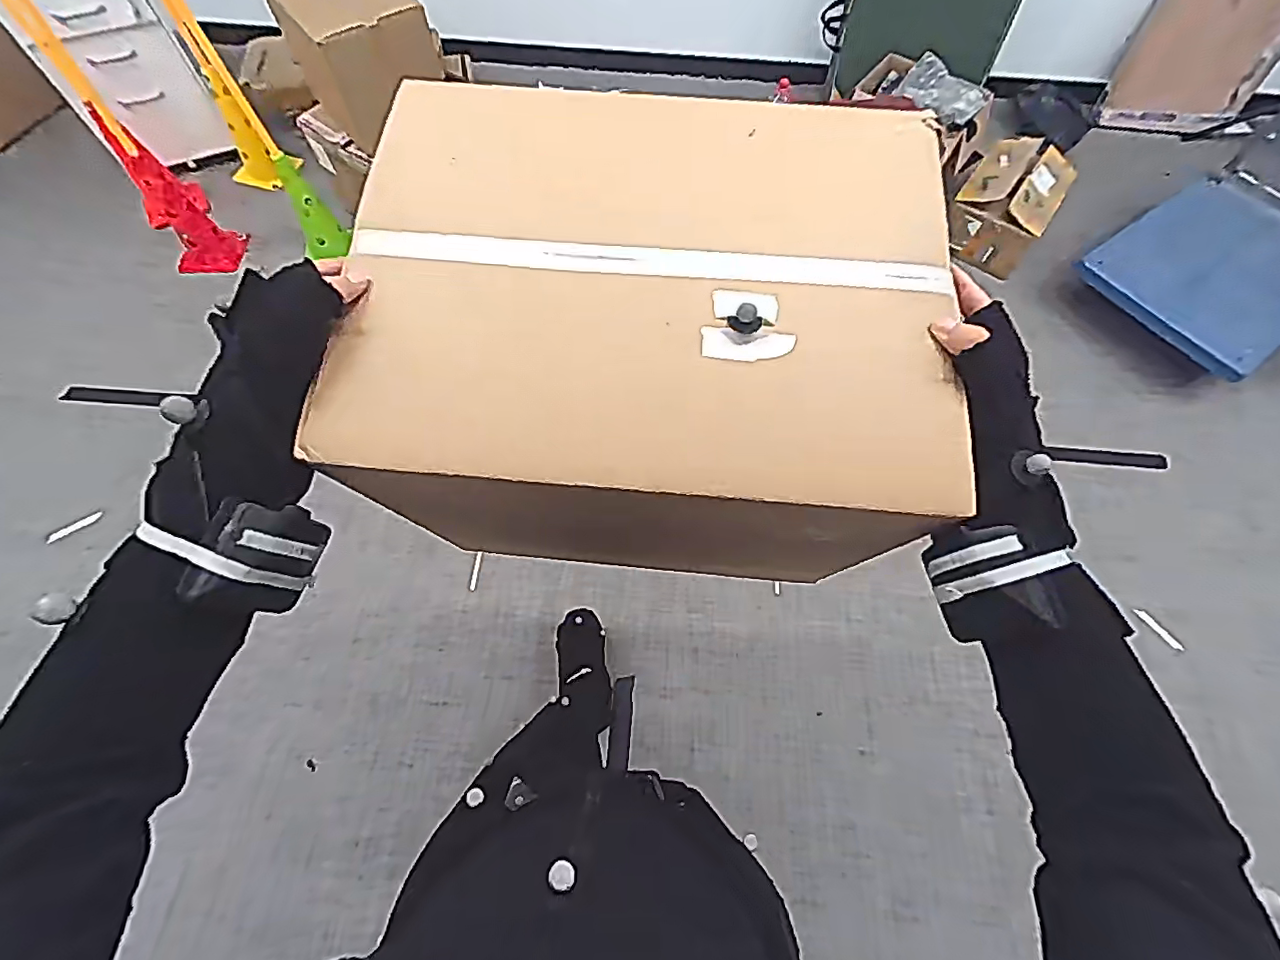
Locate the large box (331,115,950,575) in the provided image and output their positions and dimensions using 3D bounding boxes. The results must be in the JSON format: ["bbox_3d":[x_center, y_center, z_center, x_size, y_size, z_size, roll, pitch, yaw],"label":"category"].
[{"bbox_3d":[0.008,-0.094,0.529,0.408,0.320,0.320,5,72,2],"label":"large box"}]
